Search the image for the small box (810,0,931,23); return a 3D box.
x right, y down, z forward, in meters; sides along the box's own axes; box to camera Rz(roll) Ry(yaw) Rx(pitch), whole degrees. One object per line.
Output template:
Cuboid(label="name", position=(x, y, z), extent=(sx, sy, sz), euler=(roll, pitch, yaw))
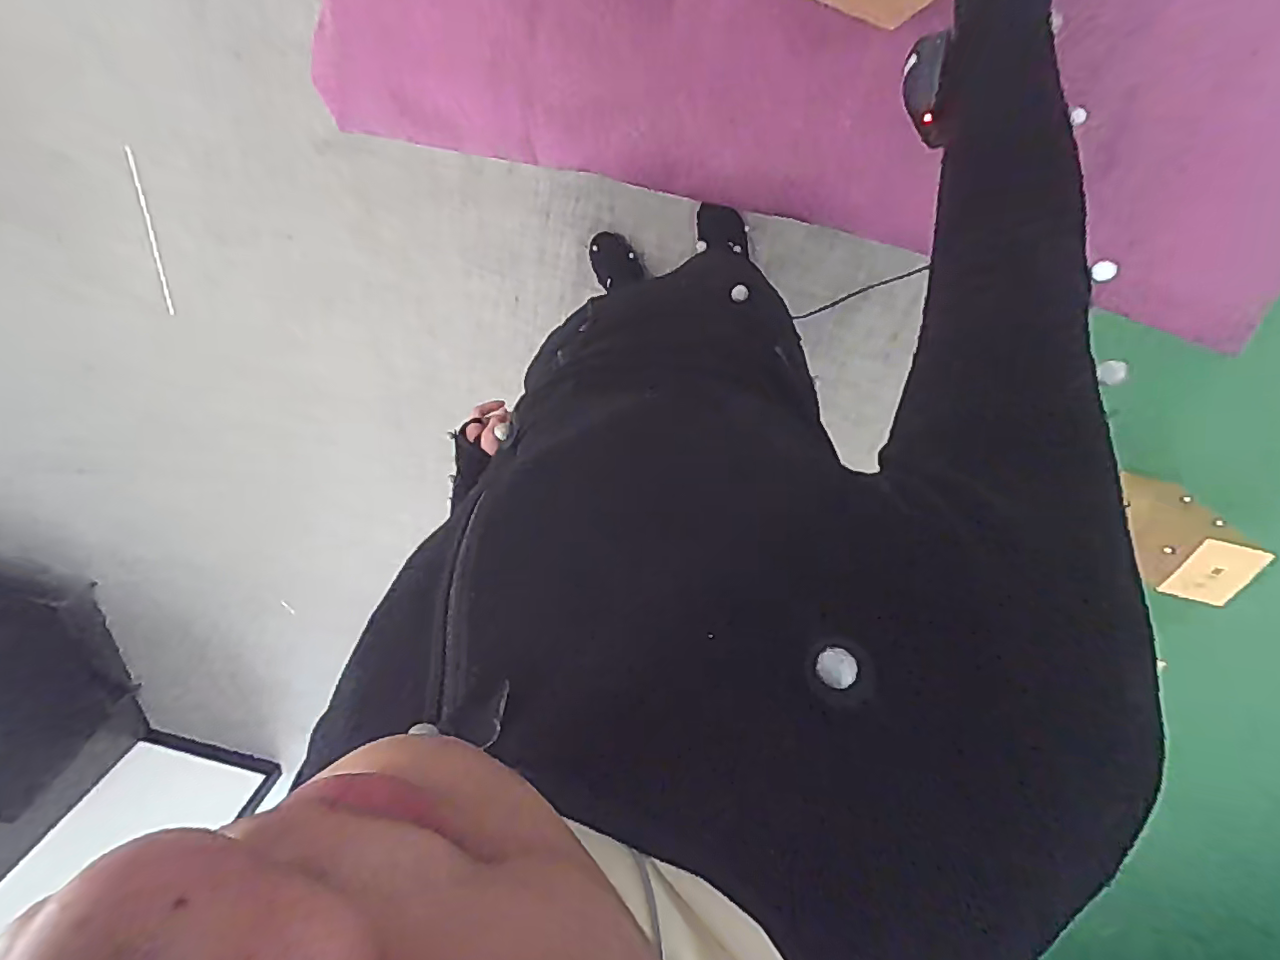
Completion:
Cuboid(label="small box", position=(0.205, -0.538, 0.473), extent=(0.179, 0.176, 0.168), euler=(21, 122, -2))

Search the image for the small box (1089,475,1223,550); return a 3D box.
Cuboid(label="small box", position=(1.425, 0.104, 1.511), extent=(0.179, 0.176, 0.168), euler=(14, 122, 0))

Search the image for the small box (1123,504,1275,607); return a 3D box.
Cuboid(label="small box", position=(1.396, 0.185, 1.371), extent=(0.168, 0.176, 0.179), euler=(14, 122, 1))
